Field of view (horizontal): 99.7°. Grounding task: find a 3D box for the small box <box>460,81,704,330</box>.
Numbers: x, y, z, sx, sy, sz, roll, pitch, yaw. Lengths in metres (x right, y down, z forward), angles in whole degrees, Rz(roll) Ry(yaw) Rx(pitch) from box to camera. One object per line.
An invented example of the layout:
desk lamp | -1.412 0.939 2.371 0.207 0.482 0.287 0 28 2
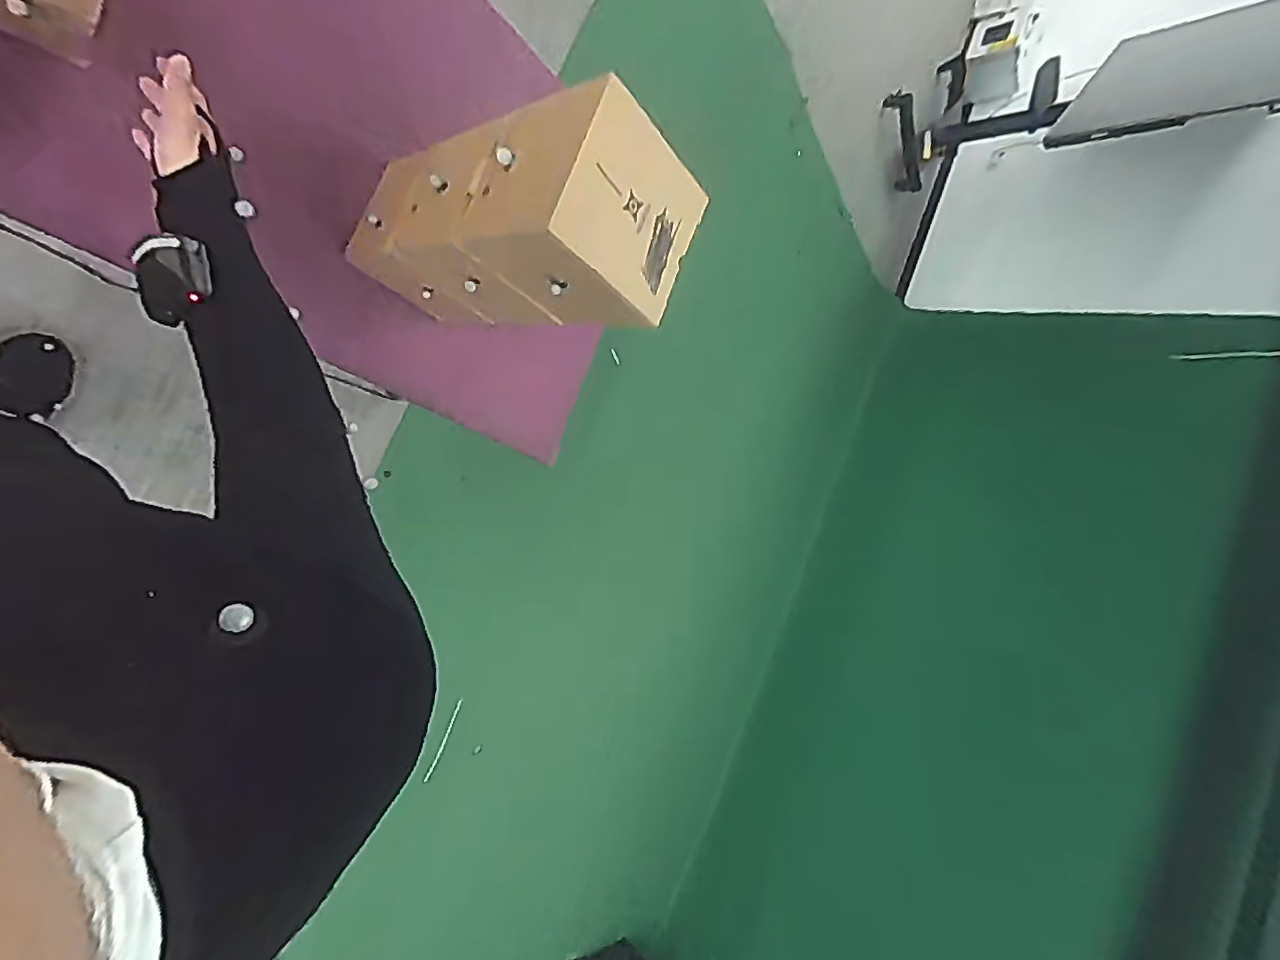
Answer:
small box | -0.063 -0.290 0.606 0.179 0.176 0.168 27 83 -49

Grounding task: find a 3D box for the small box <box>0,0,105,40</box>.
small box | -0.571 -0.520 0.455 0.179 0.176 0.168 7 98 -49

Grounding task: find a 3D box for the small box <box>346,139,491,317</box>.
small box | -0.304 -0.366 0.816 0.179 0.176 0.168 33 79 -49

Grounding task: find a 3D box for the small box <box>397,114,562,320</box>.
small box | -0.184 -0.328 0.712 0.179 0.176 0.168 29 83 -48
